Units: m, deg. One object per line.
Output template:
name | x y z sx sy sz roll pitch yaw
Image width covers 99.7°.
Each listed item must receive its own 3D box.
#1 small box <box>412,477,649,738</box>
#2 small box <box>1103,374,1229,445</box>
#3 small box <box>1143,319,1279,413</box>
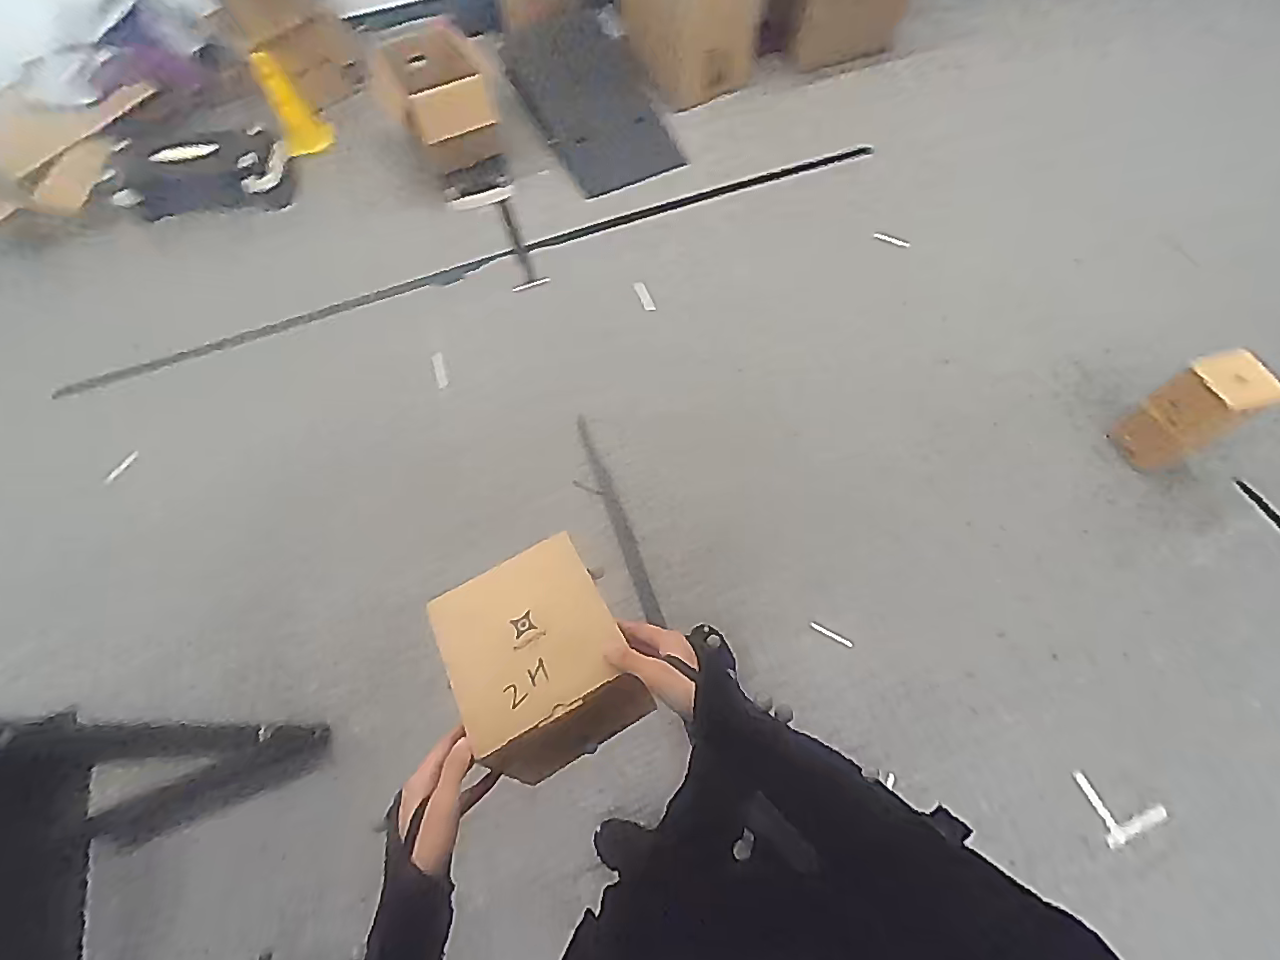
small box | -0.105 0.135 0.560 0.168 0.176 0.179 -27 56 -10
small box | 1.573 -0.229 1.631 0.179 0.176 0.168 -17 65 -7
small box | 1.569 -0.309 1.490 0.179 0.176 0.168 -15 65 -5
